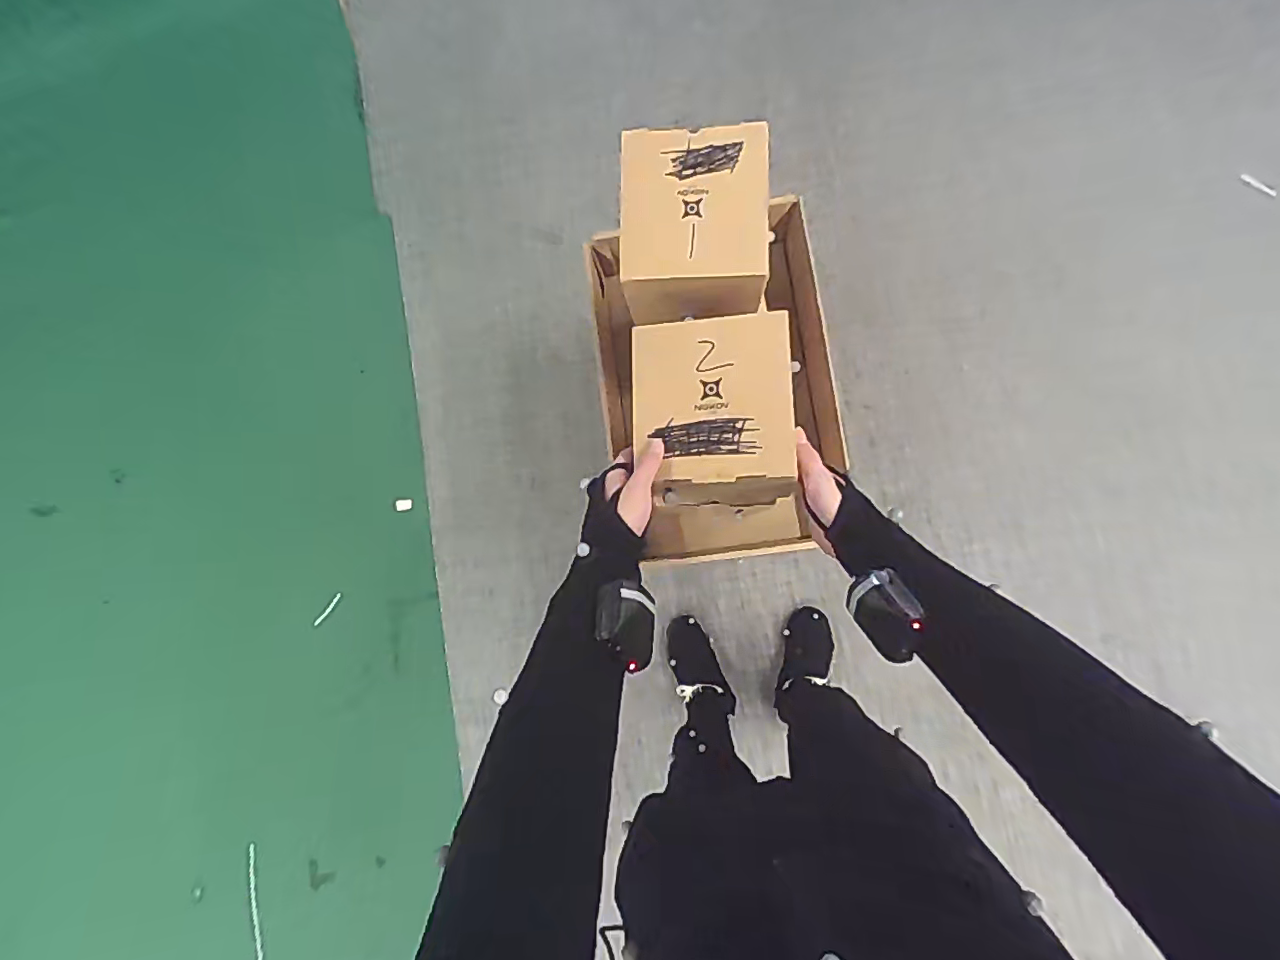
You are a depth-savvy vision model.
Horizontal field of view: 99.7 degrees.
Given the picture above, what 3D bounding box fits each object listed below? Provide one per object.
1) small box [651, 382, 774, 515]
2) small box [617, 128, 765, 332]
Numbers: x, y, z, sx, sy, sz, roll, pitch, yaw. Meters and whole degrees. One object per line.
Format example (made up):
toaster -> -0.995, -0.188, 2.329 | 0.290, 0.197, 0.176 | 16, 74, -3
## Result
small box -> 0.109, -0.039, 0.810 | 0.168, 0.176, 0.179 | 0, 83, 7
small box -> 0.065, -0.301, 0.684 | 0.168, 0.176, 0.179 | 0, 86, 7
